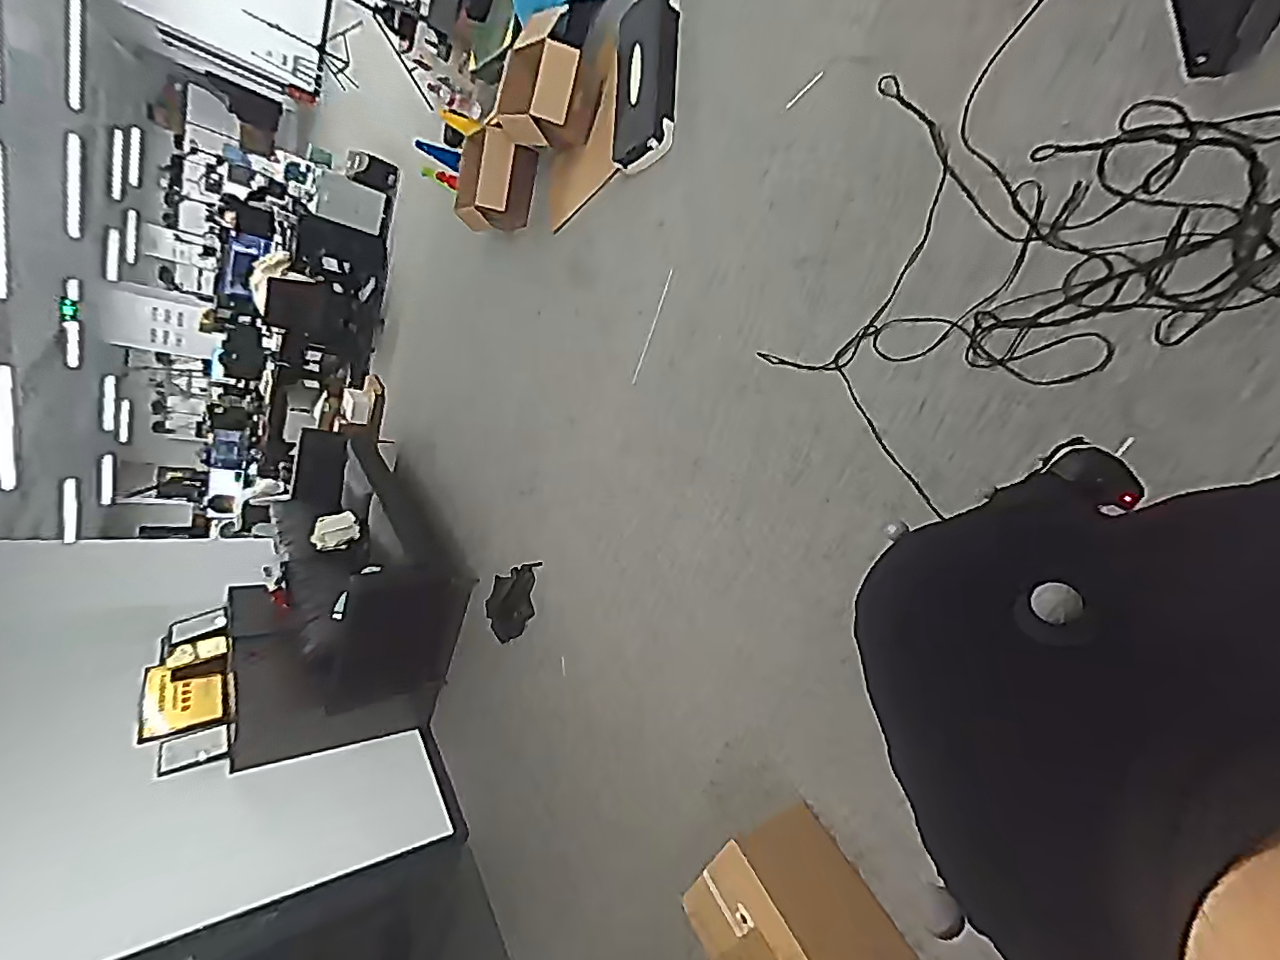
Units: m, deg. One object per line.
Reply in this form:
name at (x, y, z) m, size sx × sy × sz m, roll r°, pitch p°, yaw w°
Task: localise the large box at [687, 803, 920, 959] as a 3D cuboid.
large box at (0.400, 1.140, 1.378) m, size 0.408 × 0.320 × 0.320 m, roll 50°, pitch 122°, yaw 42°
